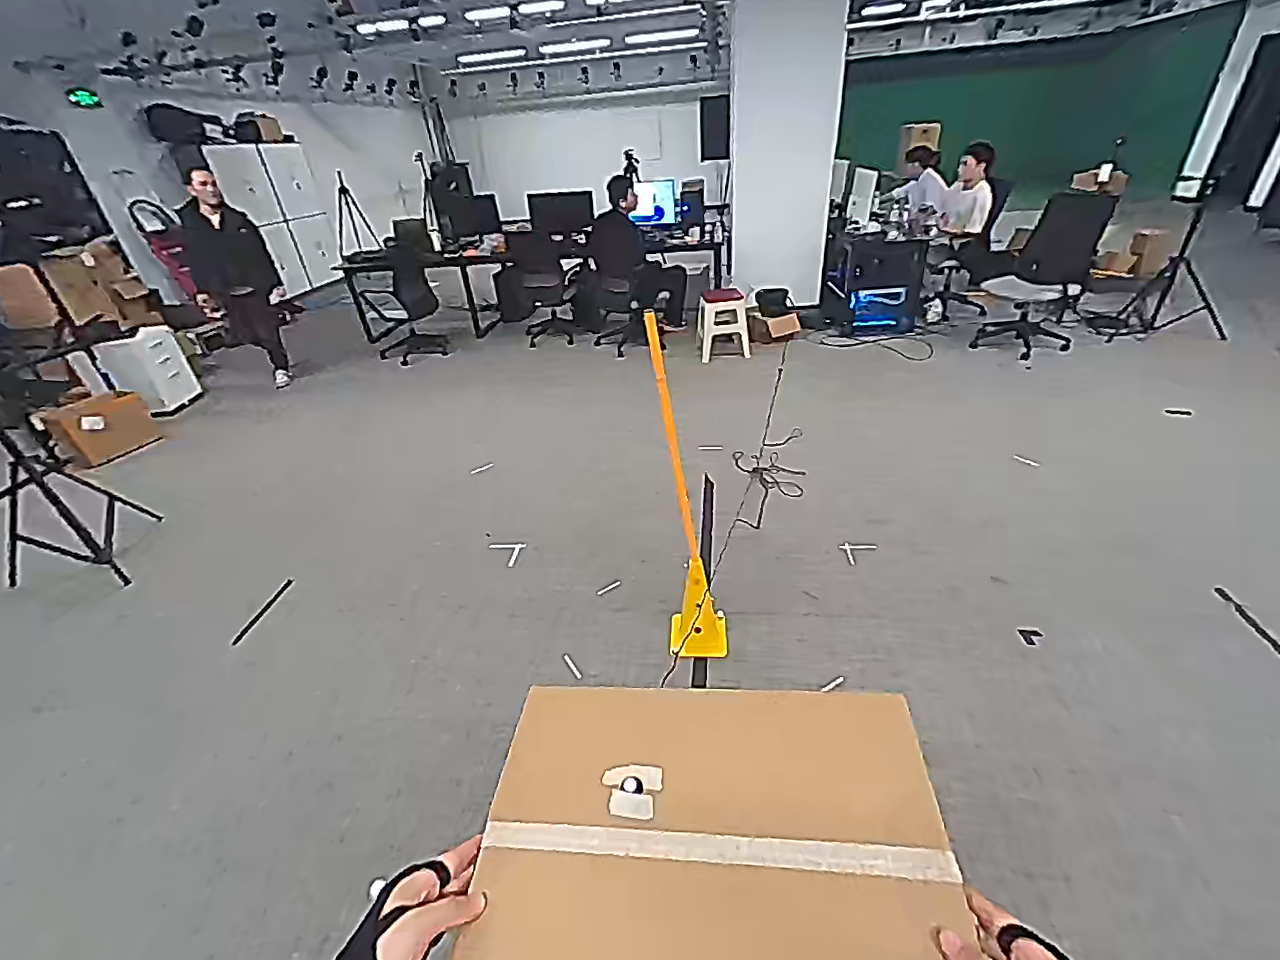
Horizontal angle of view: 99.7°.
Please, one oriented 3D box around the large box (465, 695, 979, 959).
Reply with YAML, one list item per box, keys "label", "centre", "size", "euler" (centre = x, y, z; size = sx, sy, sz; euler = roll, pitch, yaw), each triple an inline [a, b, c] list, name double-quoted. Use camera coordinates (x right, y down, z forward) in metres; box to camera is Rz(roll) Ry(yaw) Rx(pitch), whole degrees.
- label: "large box"
  centre: [0.086, 0.449, 0.559]
  size: [0.408, 0.320, 0.320]
  euler: [-4, 34, 11]
